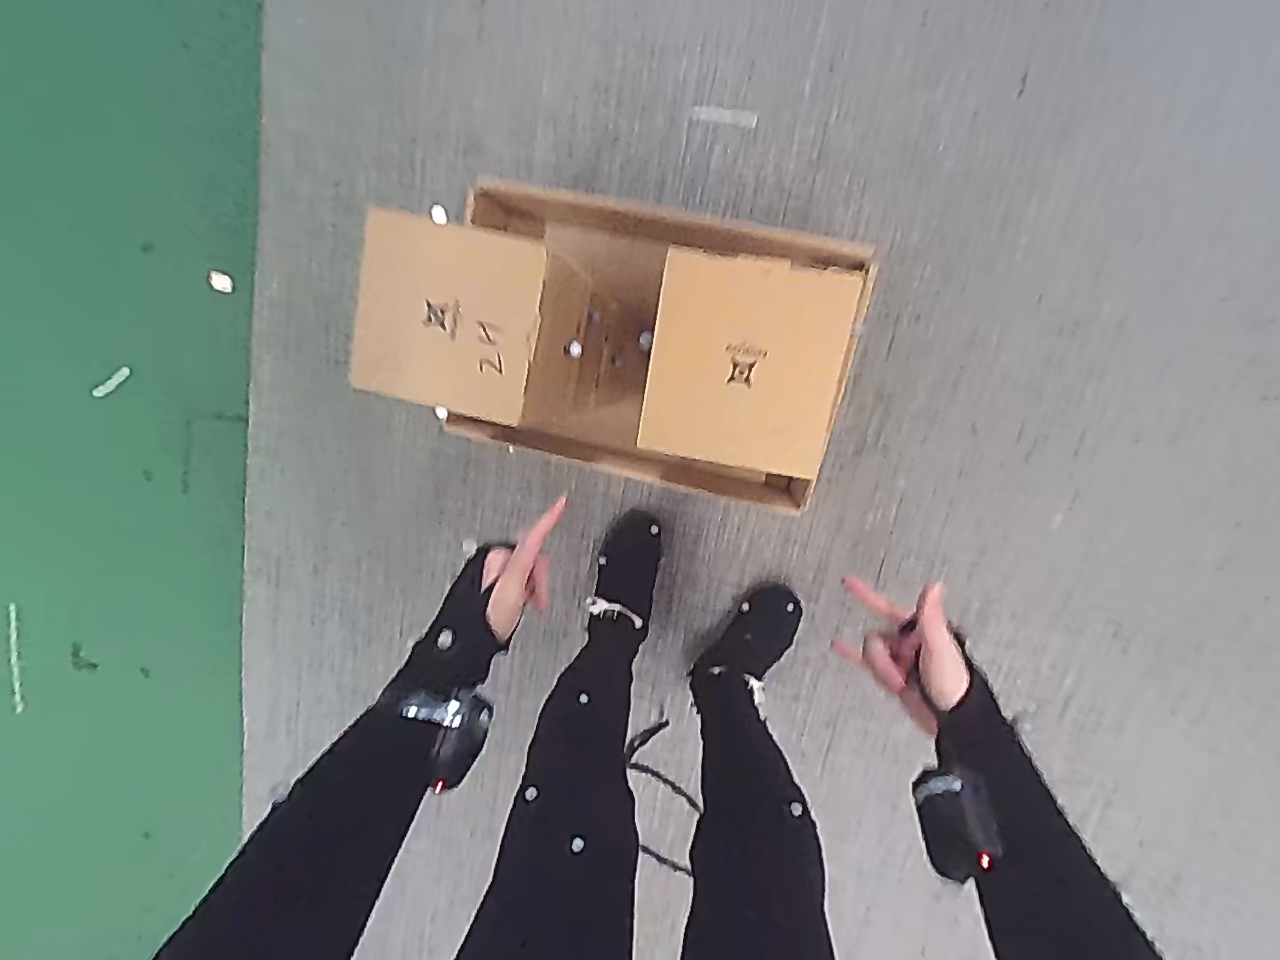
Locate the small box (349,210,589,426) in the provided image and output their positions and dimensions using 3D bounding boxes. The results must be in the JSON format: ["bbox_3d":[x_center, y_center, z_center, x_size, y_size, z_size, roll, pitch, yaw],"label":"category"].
[{"bbox_3d":[-0.168,-0.160,0.575,0.179,0.176,0.168,14,101,4],"label":"small box"}]

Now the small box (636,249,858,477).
[{"bbox_3d":[0.101,-0.115,0.546,0.168,0.176,0.179,11,103,8],"label":"small box"}]
